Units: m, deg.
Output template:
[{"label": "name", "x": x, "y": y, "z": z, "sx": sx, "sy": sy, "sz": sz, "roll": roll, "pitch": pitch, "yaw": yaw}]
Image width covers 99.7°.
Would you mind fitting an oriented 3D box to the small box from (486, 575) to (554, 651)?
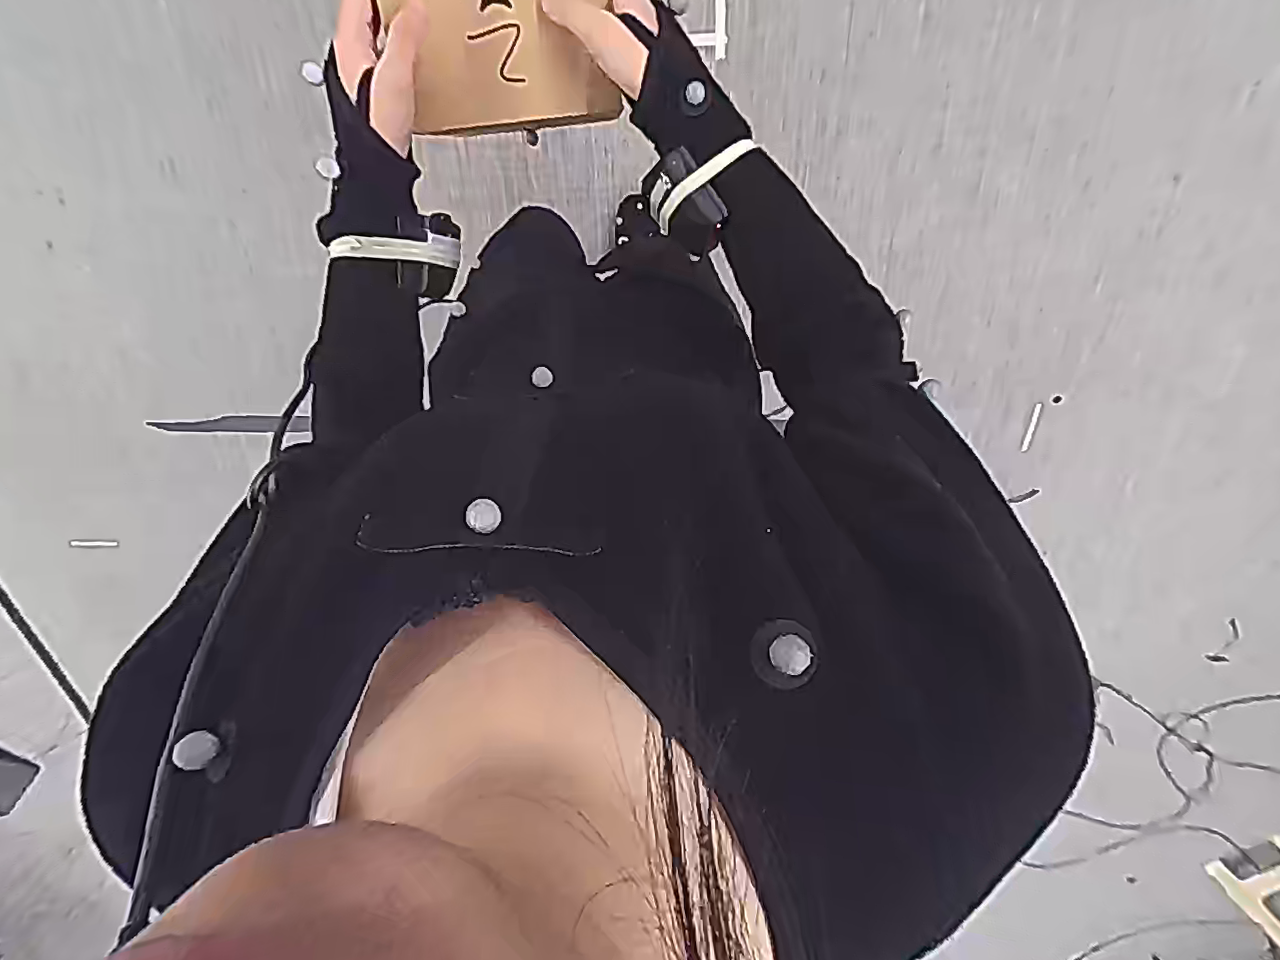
[{"label": "small box", "x": -0.378, "y": 0.421, "z": 1.728, "sx": 0.179, "sy": 0.176, "sz": 0.168, "roll": 4, "pitch": 117, "yaw": 0}]
